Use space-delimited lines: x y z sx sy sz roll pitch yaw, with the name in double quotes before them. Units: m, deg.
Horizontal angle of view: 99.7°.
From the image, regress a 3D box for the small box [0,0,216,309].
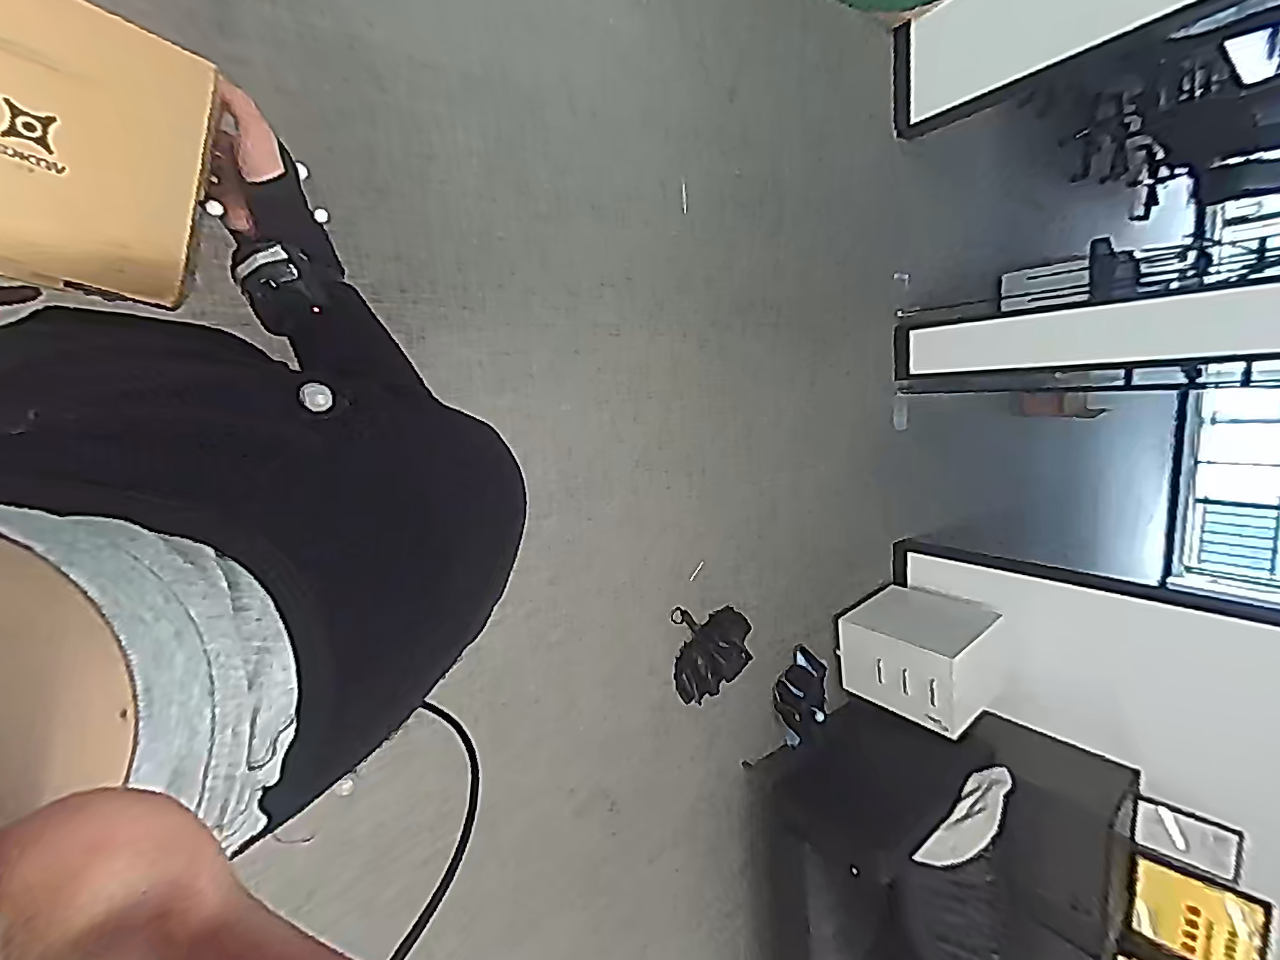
"small box" -0.429 -0.247 0.402 0.168 0.176 0.179 8 106 -41
